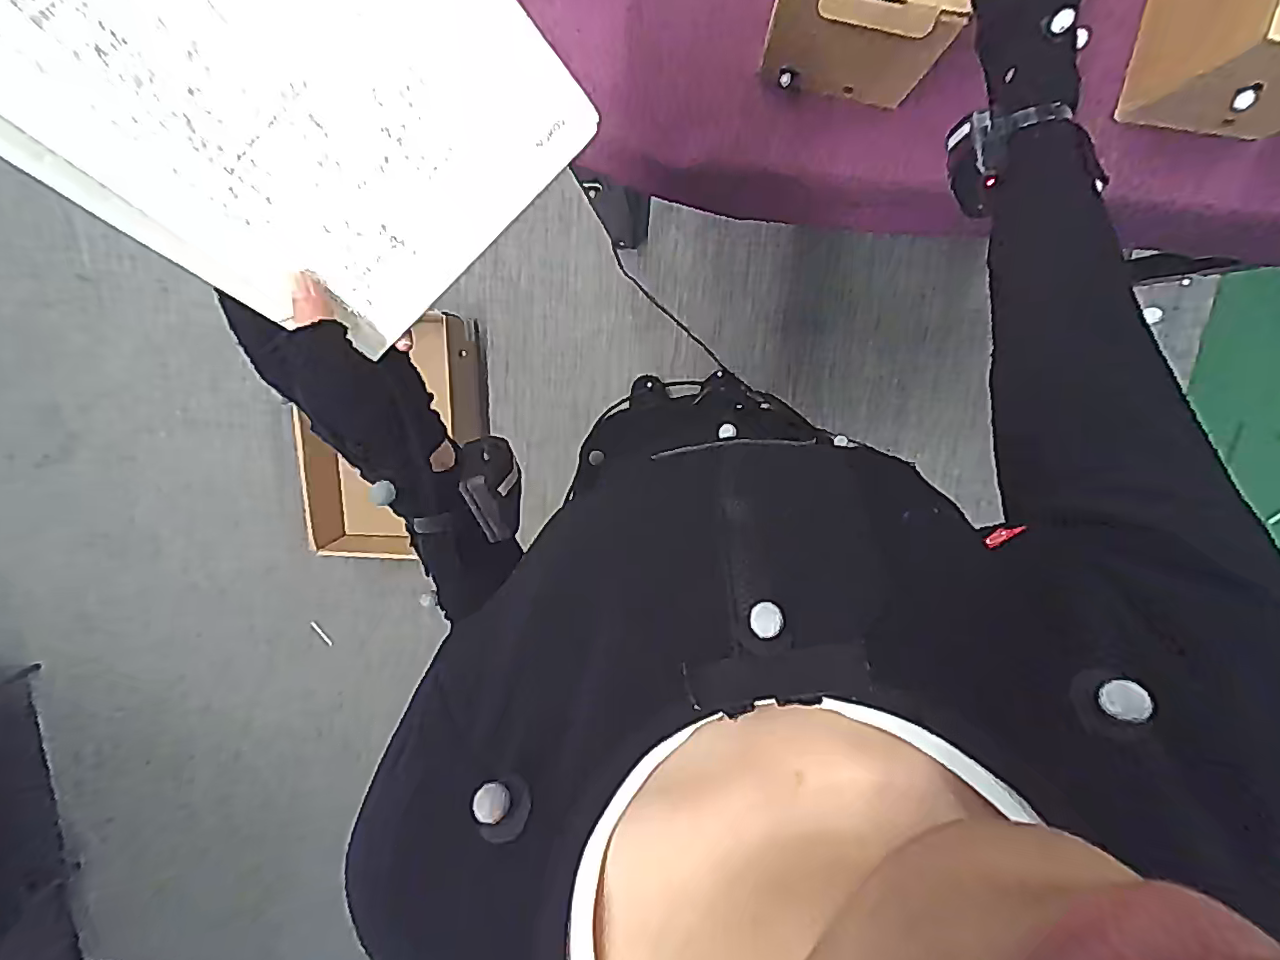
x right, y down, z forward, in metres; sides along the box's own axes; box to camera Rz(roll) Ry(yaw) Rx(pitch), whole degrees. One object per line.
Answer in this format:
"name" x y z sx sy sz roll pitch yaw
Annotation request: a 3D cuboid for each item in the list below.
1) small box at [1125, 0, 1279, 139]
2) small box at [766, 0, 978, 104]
"small box" 0.623 -0.453 0.510 0.168 0.176 0.179 10 104 2
"small box" 0.229 -0.506 0.522 0.168 0.176 0.179 14 103 0
